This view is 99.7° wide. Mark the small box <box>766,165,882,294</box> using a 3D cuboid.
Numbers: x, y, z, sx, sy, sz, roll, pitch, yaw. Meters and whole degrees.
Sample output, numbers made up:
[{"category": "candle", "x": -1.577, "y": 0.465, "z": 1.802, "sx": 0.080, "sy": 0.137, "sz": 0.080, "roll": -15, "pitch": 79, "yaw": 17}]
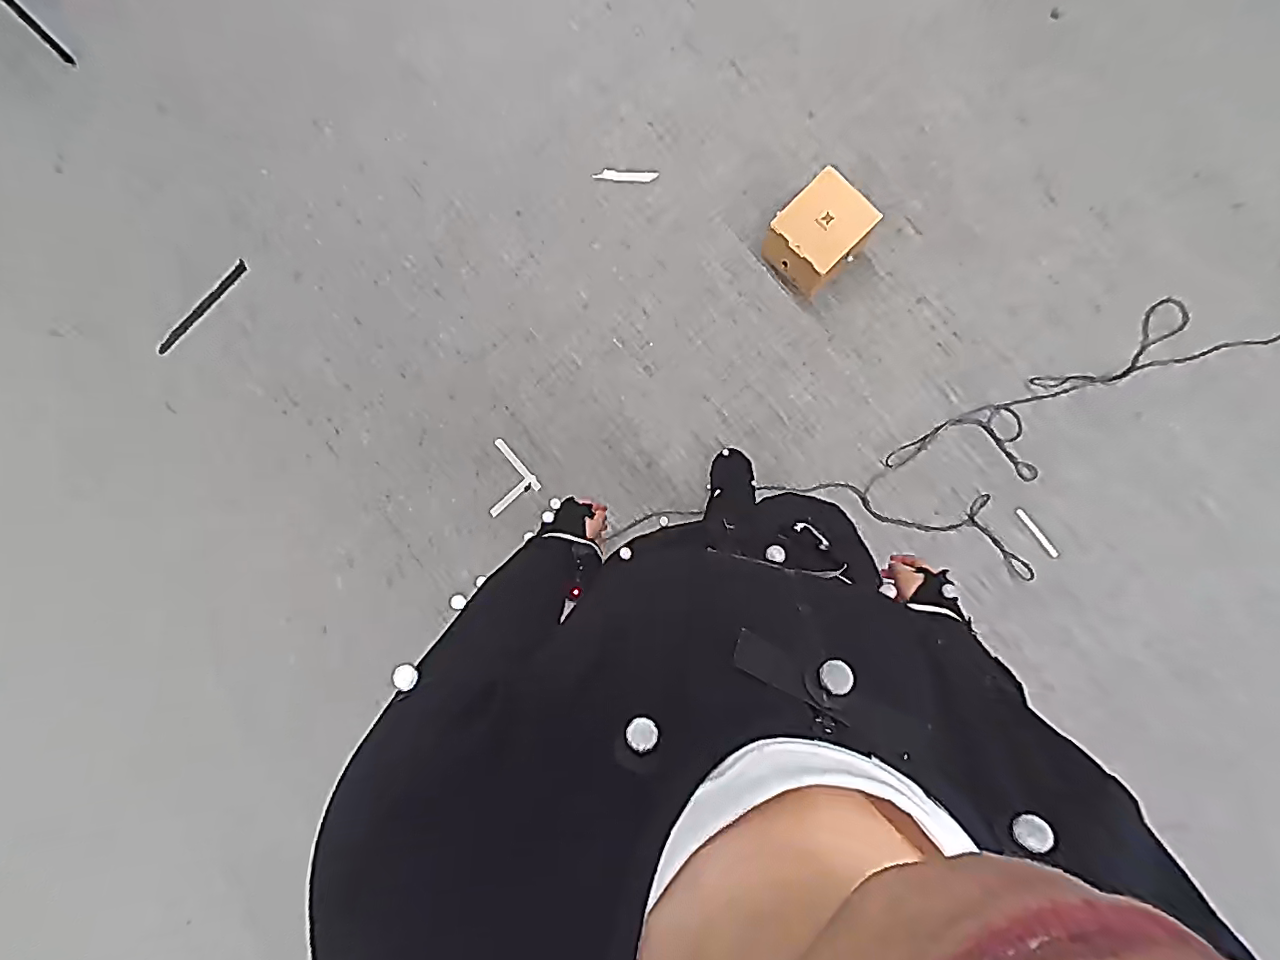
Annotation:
[{"category": "small box", "x": 0.408, "y": -0.562, "z": 1.238, "sx": 0.179, "sy": 0.176, "sz": 0.168, "roll": -45, "pitch": 86, "yaw": 7}]
